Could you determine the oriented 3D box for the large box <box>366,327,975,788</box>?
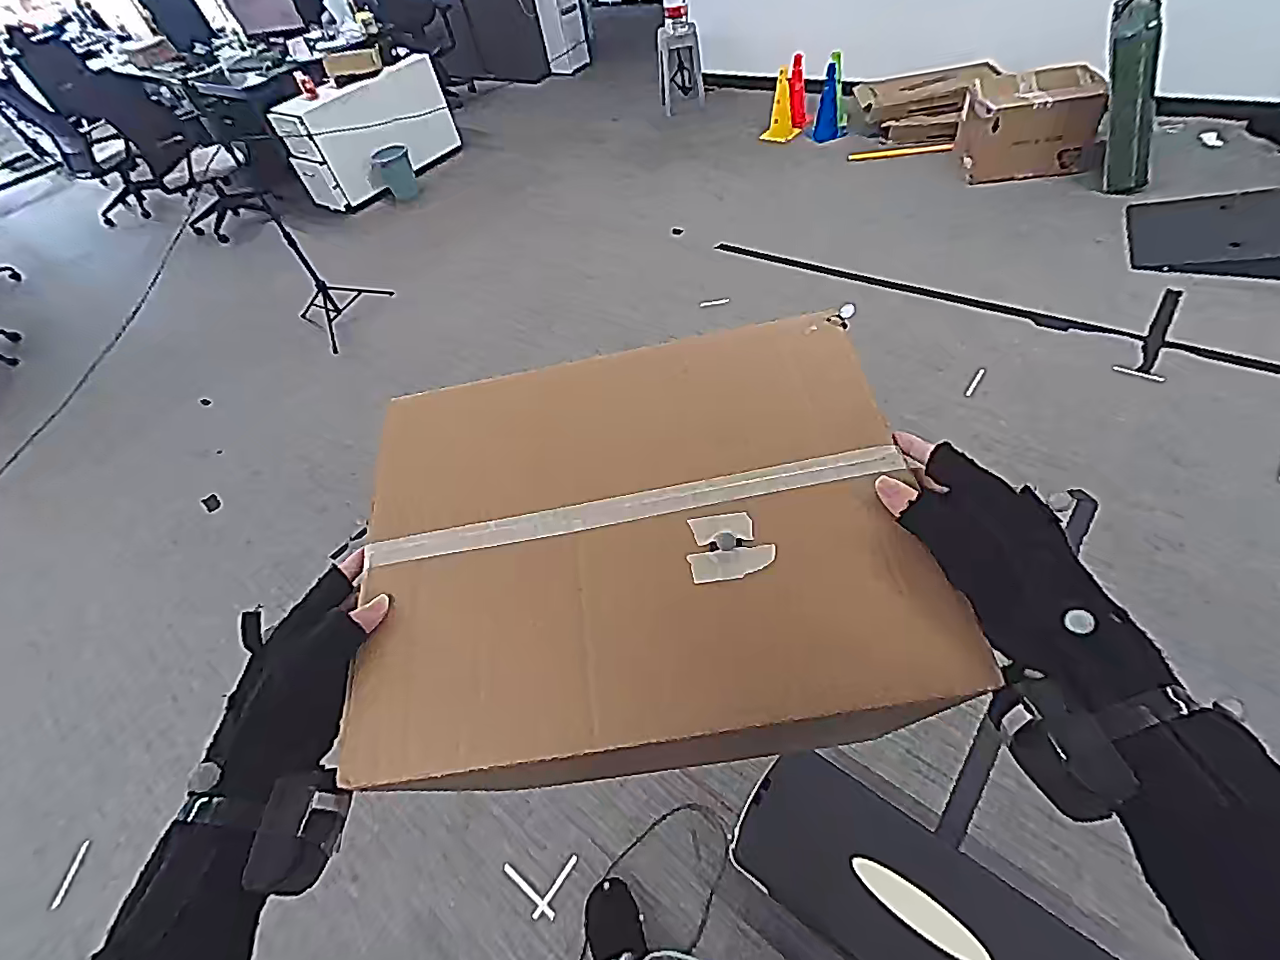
[{"bbox_3d":[0.014,0.102,0.544,0.408,0.320,0.320,-10,59,3],"label":"large box"}]
